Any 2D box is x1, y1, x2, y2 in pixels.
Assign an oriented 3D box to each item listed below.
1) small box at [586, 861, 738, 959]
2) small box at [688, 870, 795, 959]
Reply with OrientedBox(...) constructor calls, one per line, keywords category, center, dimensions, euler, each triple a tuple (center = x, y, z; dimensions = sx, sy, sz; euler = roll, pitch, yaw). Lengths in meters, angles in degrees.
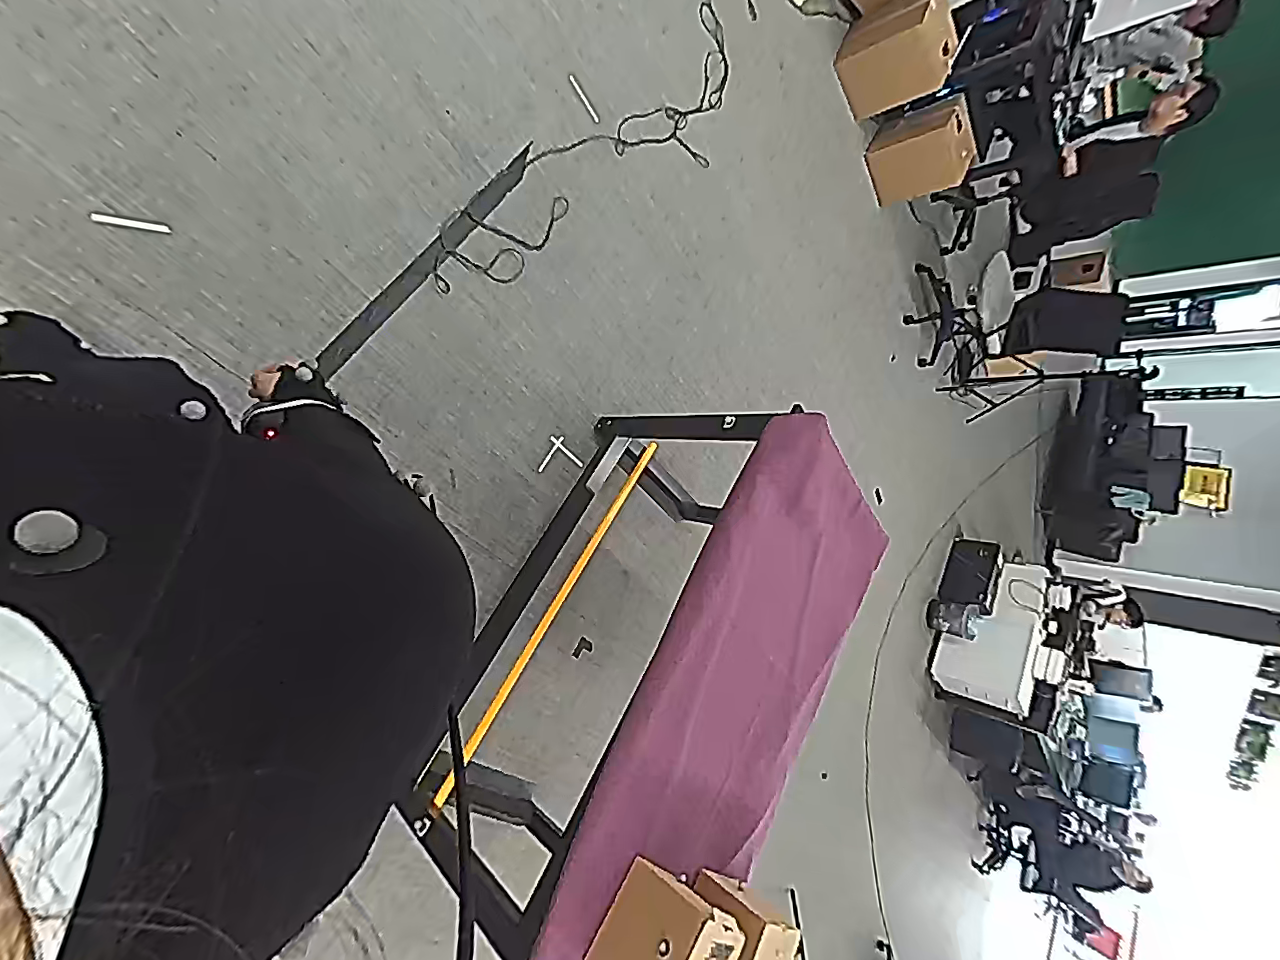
OrientedBox(category="small box", center=(0.037, 0.813, 0.941), dimensions=(0.179, 0.176, 0.168), euler=(-54, 128, -25))
OrientedBox(category="small box", center=(0.177, 0.936, 1.086), dimensions=(0.168, 0.176, 0.179), euler=(46, 64, -35))
